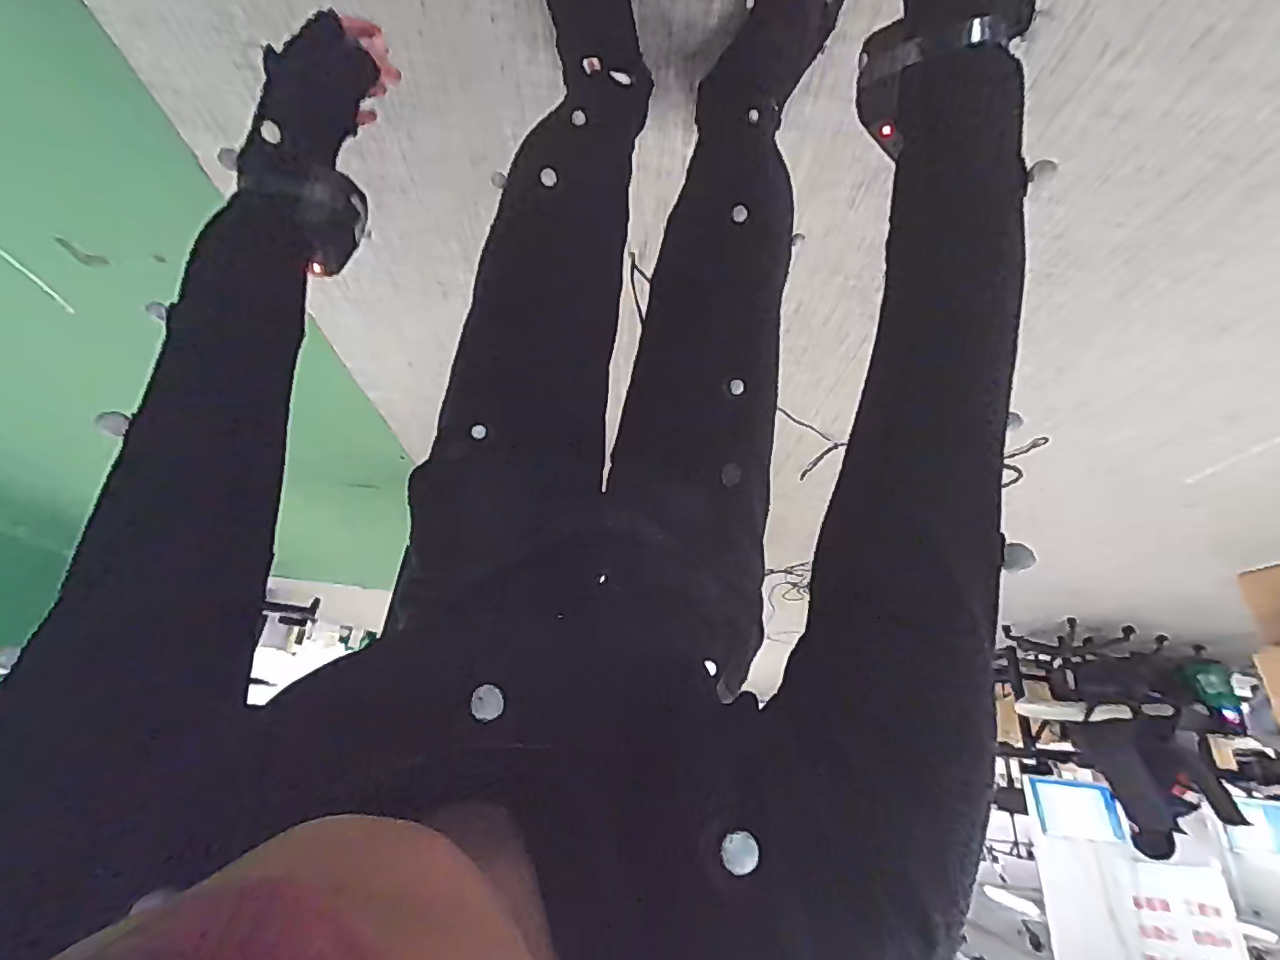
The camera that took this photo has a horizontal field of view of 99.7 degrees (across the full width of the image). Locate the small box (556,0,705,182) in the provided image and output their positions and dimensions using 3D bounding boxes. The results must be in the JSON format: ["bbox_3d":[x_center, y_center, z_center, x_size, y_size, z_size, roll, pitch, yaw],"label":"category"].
[{"bbox_3d":[-0.023,-0.545,0.745,0.168,0.176,0.179,-7,158,-10],"label":"small box"}]
